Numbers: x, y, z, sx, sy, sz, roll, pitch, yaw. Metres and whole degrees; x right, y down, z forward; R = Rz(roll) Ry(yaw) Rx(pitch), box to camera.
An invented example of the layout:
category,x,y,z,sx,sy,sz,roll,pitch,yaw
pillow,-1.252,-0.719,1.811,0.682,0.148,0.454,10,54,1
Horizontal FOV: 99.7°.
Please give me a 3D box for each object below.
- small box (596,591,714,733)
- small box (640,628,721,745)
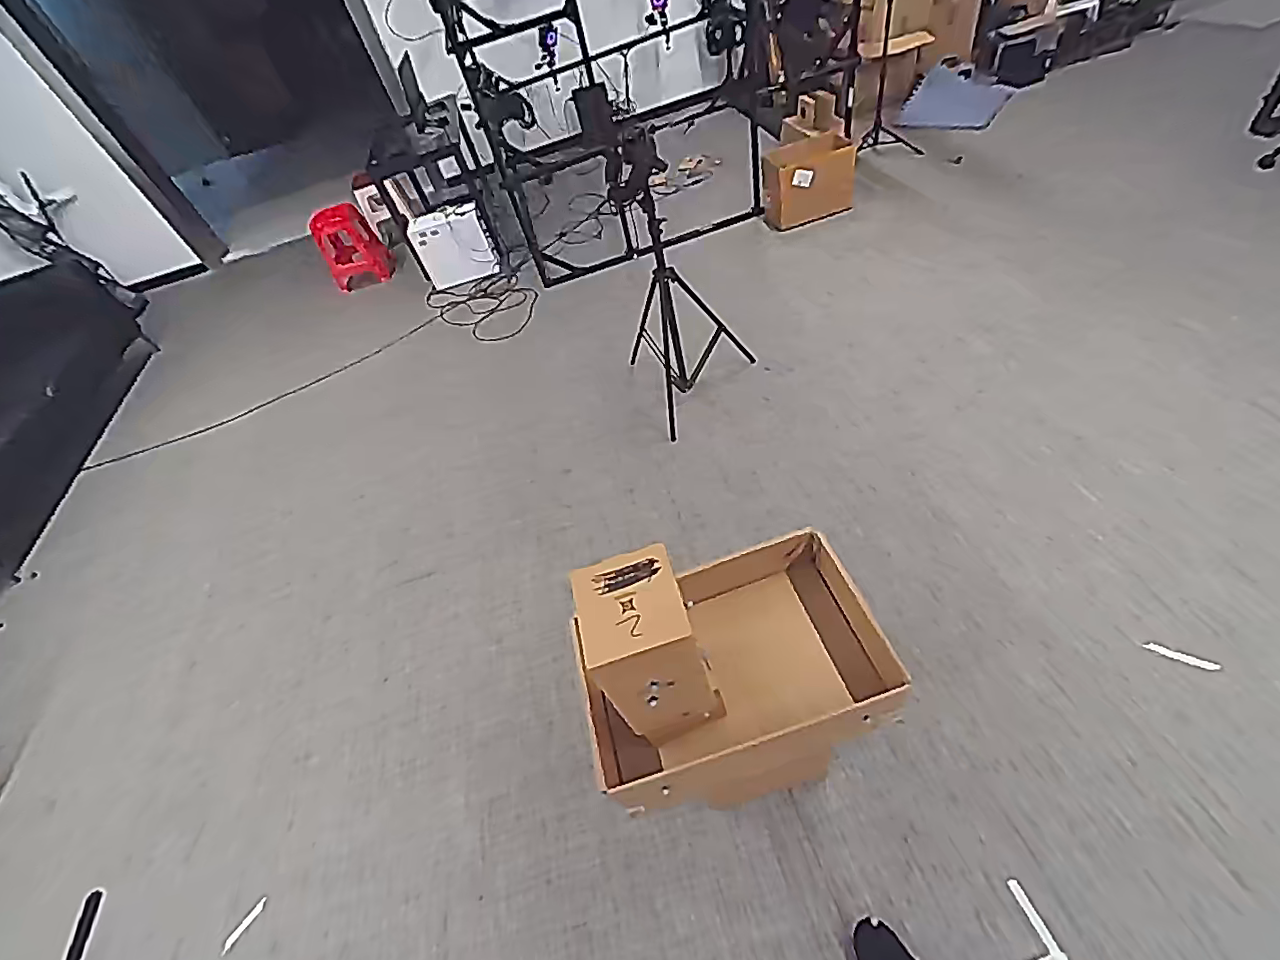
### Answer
category,x,y,z,sx,sy,sz,roll,pitch,yaw
small box,0.029,0.345,1.021,0.168,0.176,0.179,-19,47,0
small box,0.062,0.435,1.154,0.179,0.176,0.168,-24,47,-3
